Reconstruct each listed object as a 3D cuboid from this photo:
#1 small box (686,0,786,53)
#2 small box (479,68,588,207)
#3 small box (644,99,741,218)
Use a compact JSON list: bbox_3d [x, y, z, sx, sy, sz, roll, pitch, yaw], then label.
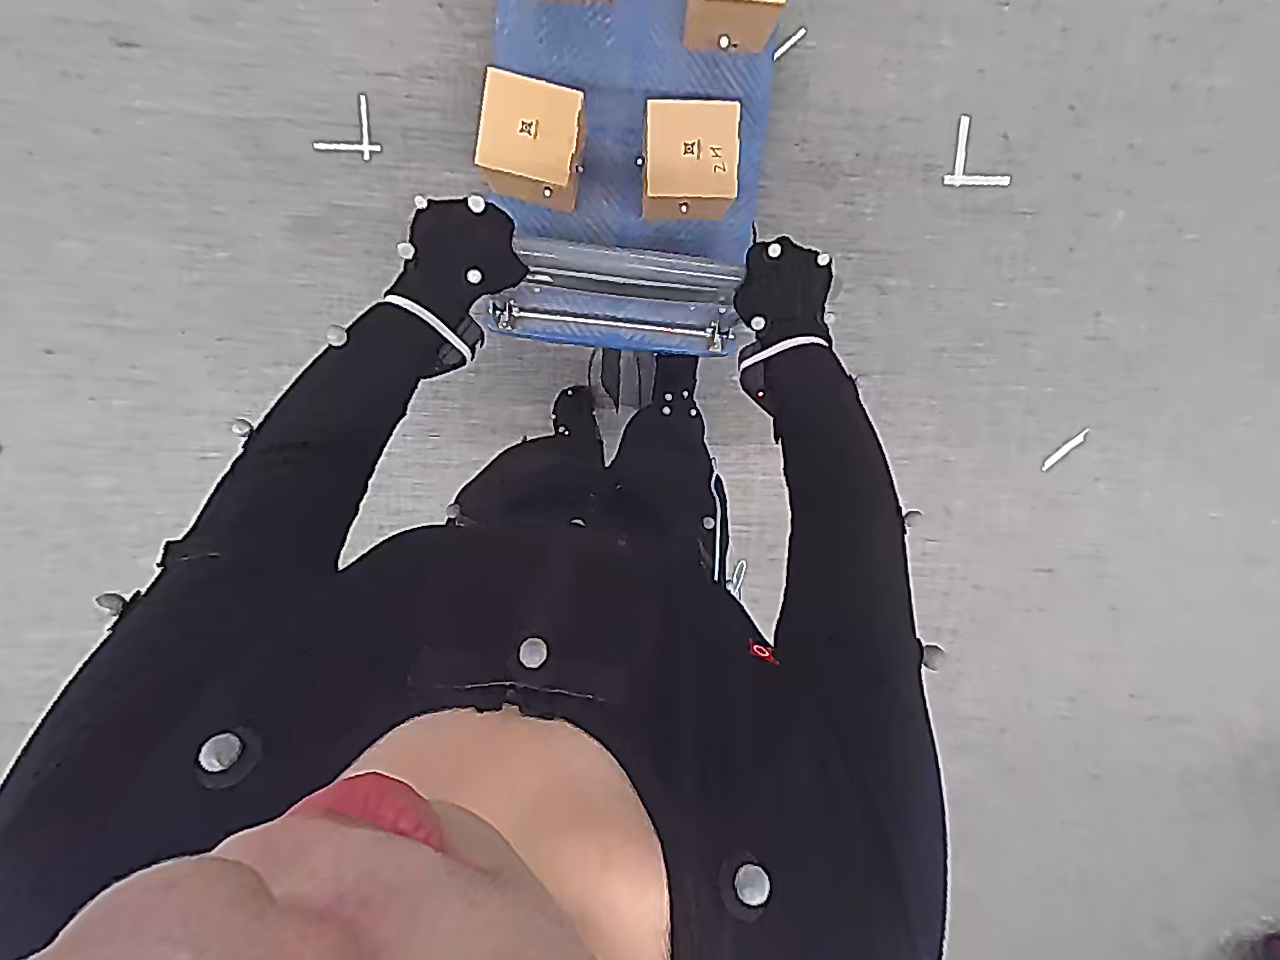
[{"bbox_3d":[0.183,-0.962,1.027,0.168,0.176,0.179,2,103,-3],"label":"small box"},{"bbox_3d":[-0.204,-0.664,1.073,0.179,0.176,0.168,10,101,-7],"label":"small box"},{"bbox_3d":[0.098,-0.640,1.095,0.179,0.176,0.168,-1,103,-3],"label":"small box"}]
